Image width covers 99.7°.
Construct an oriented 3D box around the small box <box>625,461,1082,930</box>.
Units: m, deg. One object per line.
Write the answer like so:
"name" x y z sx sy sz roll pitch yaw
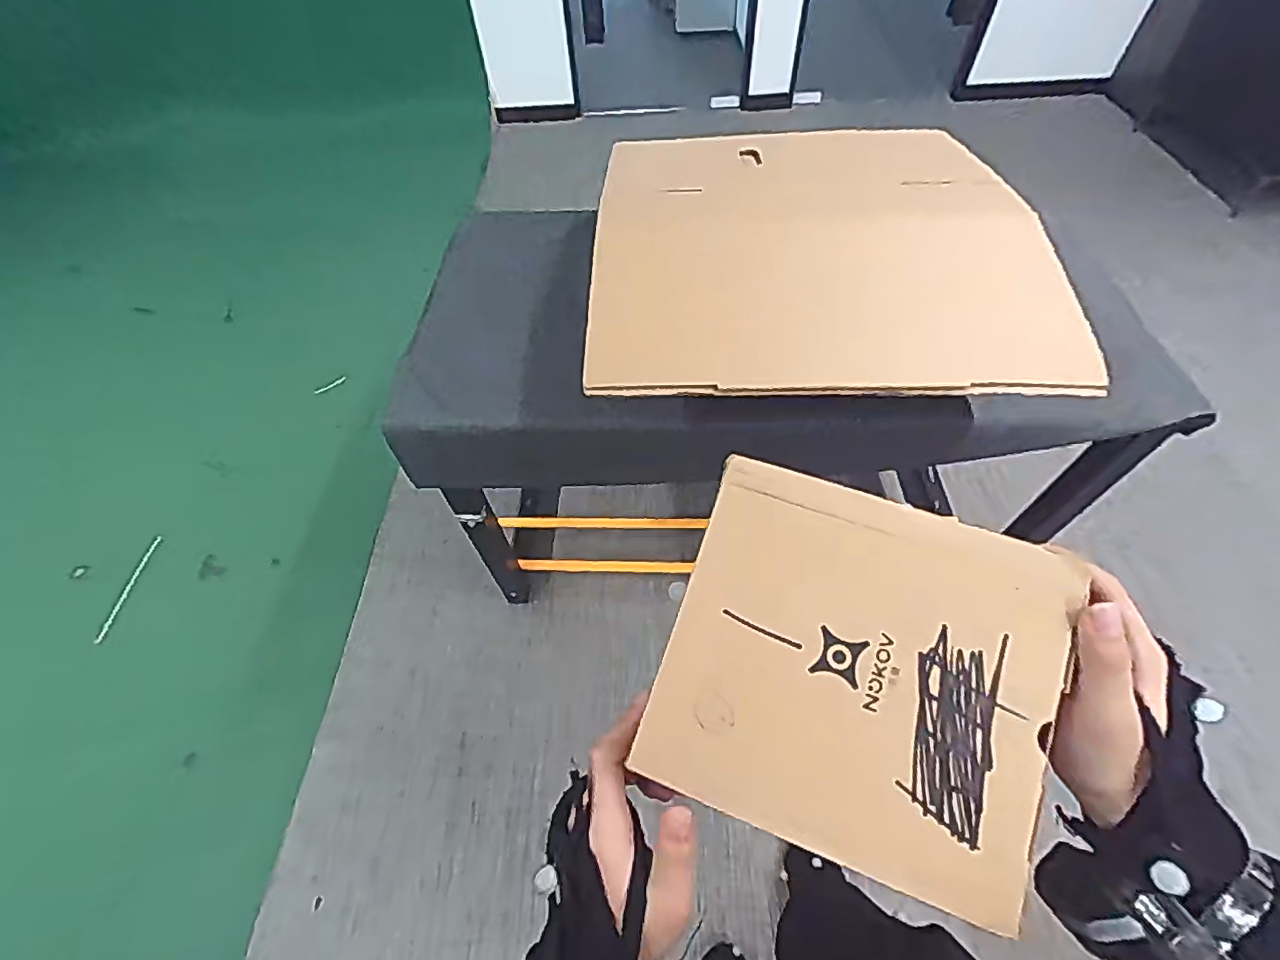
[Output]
"small box" 0.111 0.109 0.336 0.179 0.176 0.168 19 79 12
